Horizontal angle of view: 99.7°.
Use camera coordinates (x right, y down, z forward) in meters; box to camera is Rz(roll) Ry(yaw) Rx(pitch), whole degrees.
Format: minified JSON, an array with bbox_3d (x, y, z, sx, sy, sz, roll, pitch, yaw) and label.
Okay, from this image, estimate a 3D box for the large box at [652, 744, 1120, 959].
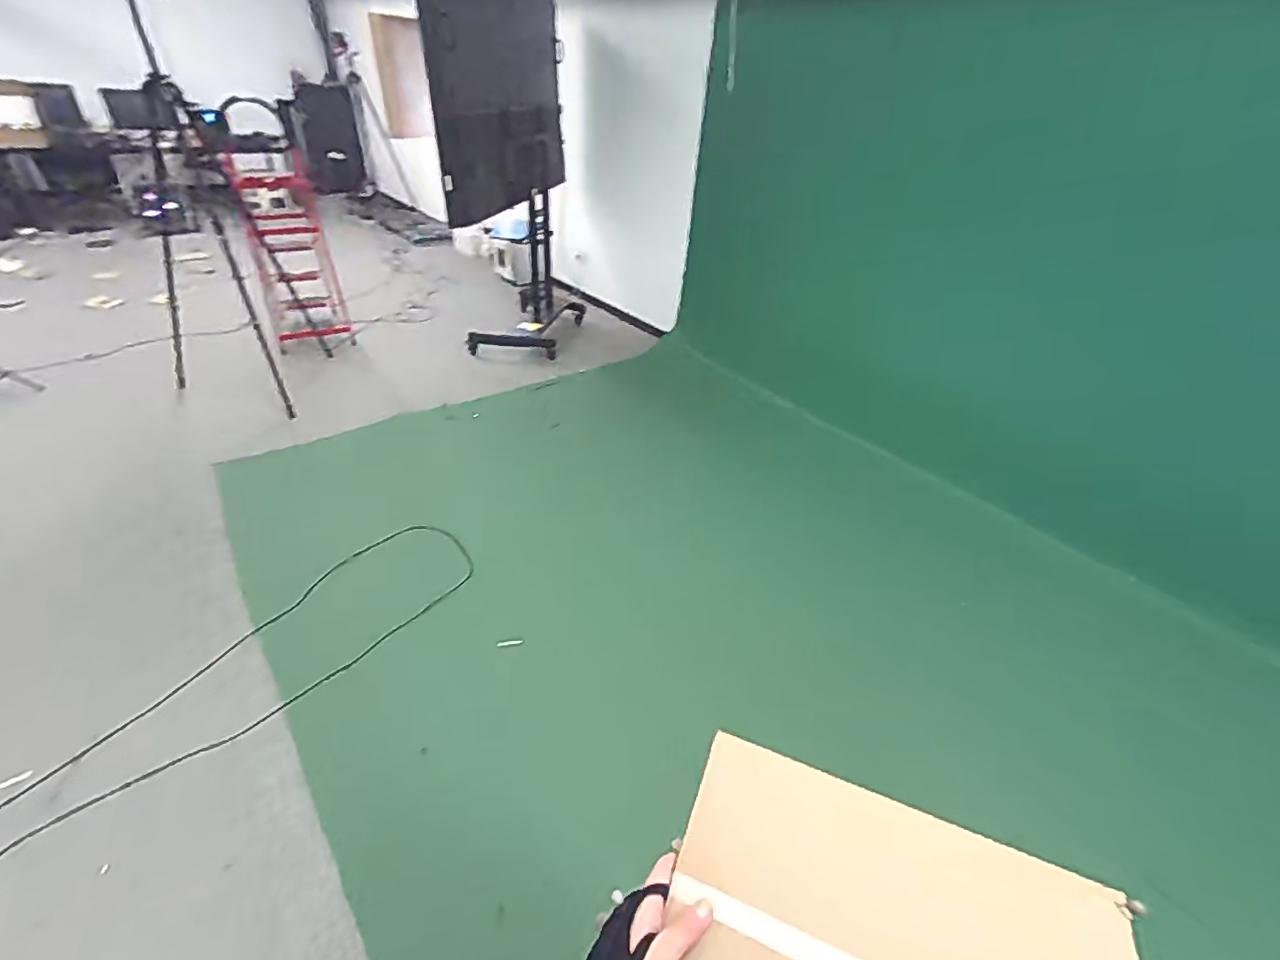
[{"bbox_3d":[0.216,0.560,0.581,0.408,0.320,0.320,15,46,16],"label":"large box"}]
